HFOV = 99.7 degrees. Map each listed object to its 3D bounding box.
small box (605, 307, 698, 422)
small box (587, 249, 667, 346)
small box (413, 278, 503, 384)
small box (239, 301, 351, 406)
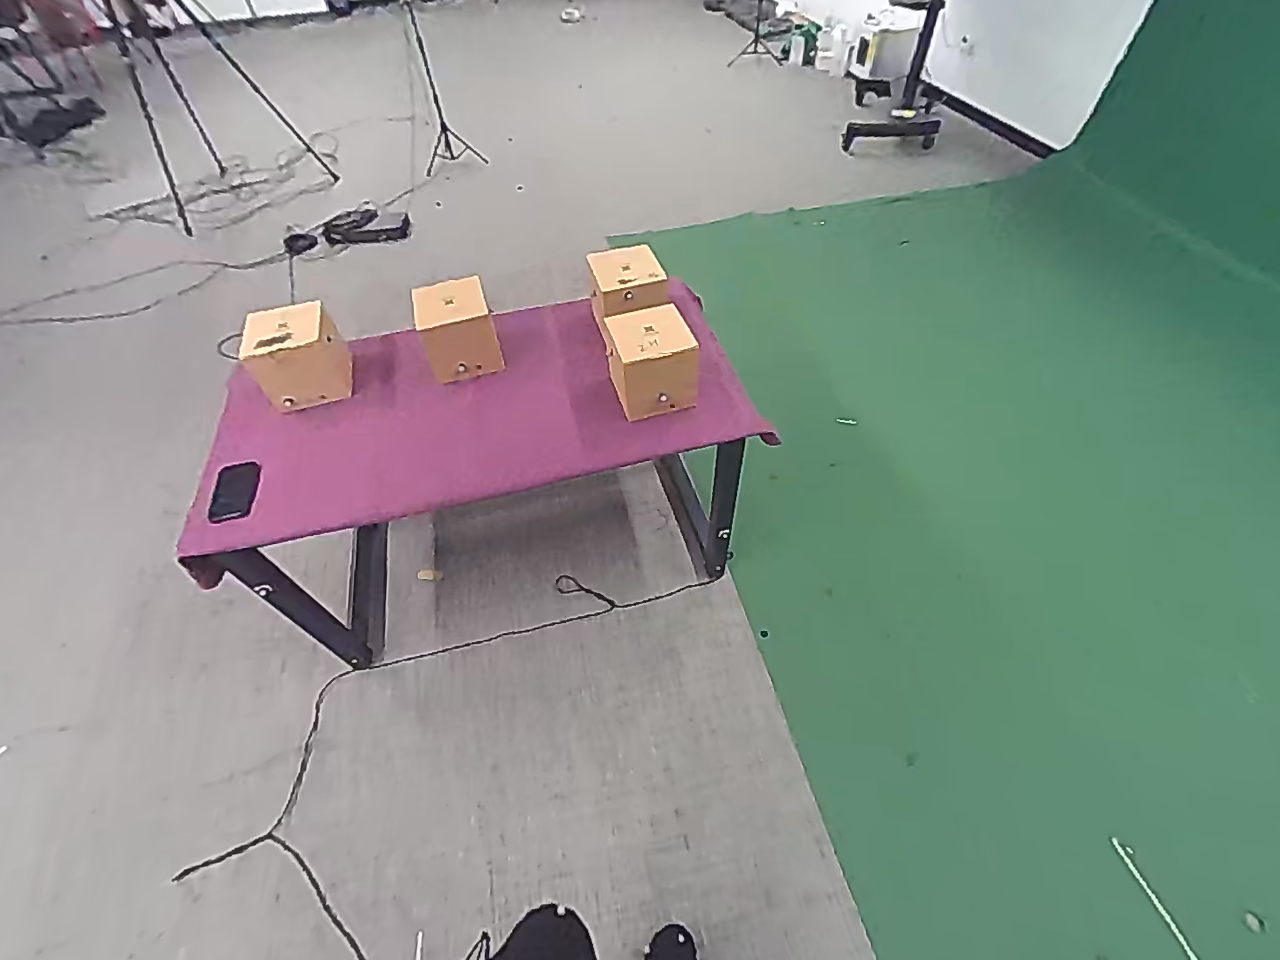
[{"bbox_3d":[0.023,-0.260,1.223,0.168,0.176,0.179,-14,51,-7],"label":"small box"},{"bbox_3d":[-0.033,-0.466,1.396,0.168,0.176,0.179,-14,52,-8],"label":"small box"},{"bbox_3d":[-0.446,-0.365,1.332,0.168,0.176,0.179,-15,53,-9],"label":"small box"},{"bbox_3d":[-0.807,-0.294,1.285,0.168,0.176,0.179,-15,51,-10],"label":"small box"}]
